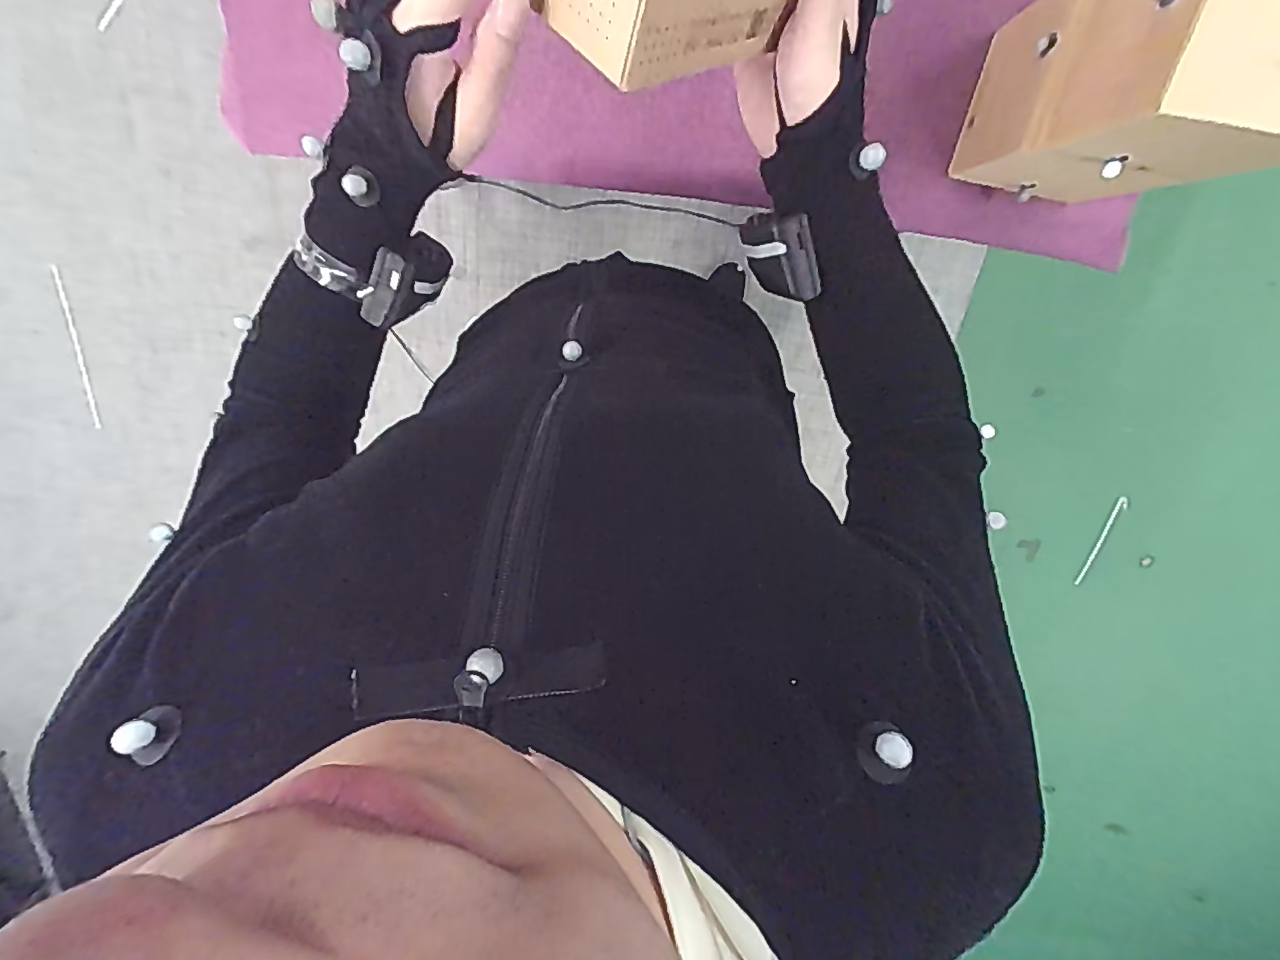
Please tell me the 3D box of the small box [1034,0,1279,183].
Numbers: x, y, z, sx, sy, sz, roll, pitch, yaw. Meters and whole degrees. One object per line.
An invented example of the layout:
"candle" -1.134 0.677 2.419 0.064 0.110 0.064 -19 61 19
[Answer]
"small box" 0.496 -0.380 0.469 0.168 0.176 0.179 11 112 0

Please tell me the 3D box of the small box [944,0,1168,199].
"small box" 0.499 -0.435 0.623 0.179 0.176 0.168 11 110 -2
